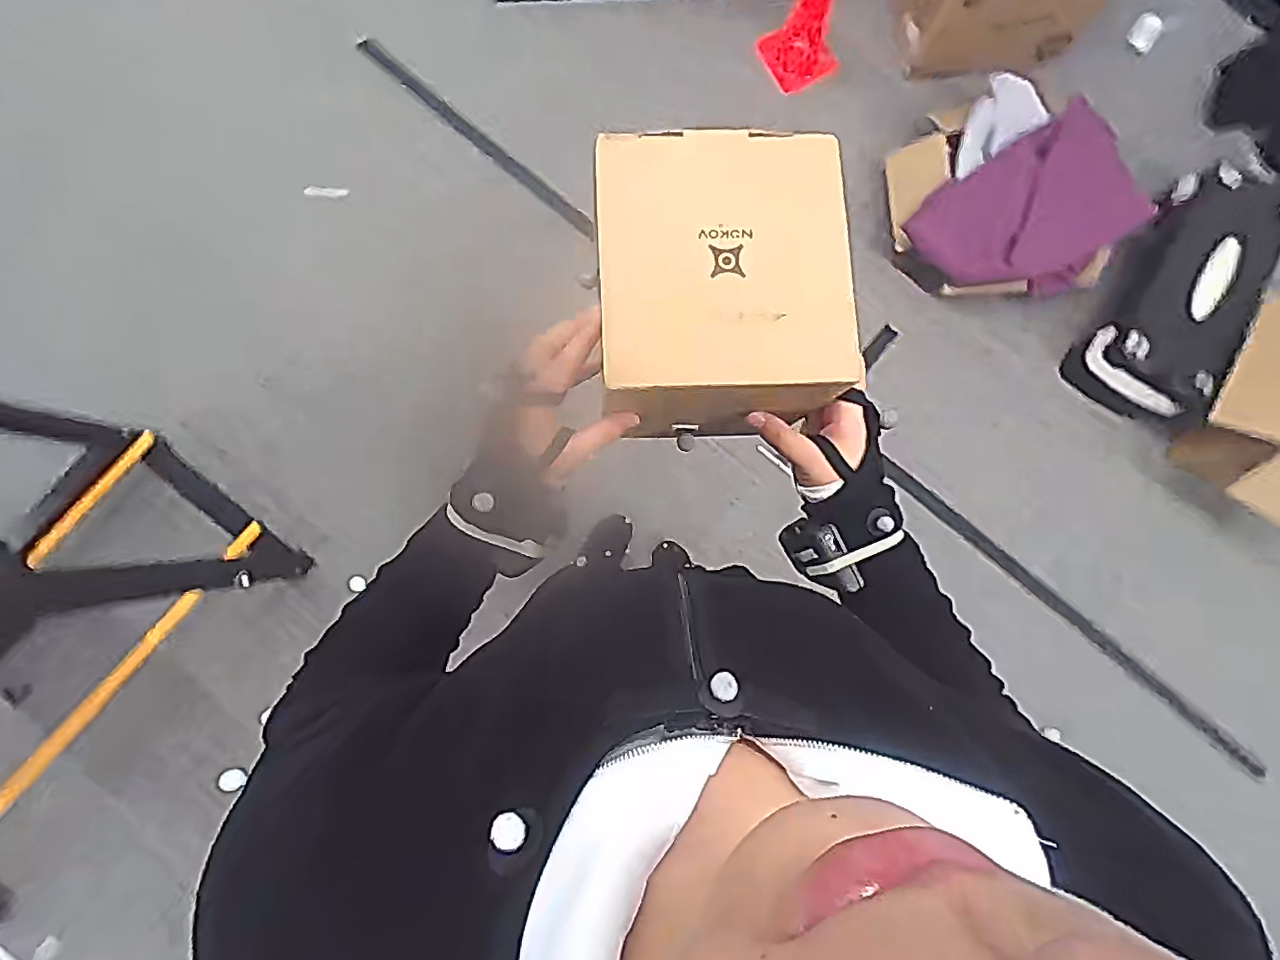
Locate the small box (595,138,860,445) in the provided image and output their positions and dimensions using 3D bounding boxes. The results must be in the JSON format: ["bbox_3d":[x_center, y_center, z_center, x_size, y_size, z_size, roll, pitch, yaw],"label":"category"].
[{"bbox_3d":[0.049,-0.132,0.429,0.168,0.176,0.179,-3,84,-4],"label":"small box"}]
